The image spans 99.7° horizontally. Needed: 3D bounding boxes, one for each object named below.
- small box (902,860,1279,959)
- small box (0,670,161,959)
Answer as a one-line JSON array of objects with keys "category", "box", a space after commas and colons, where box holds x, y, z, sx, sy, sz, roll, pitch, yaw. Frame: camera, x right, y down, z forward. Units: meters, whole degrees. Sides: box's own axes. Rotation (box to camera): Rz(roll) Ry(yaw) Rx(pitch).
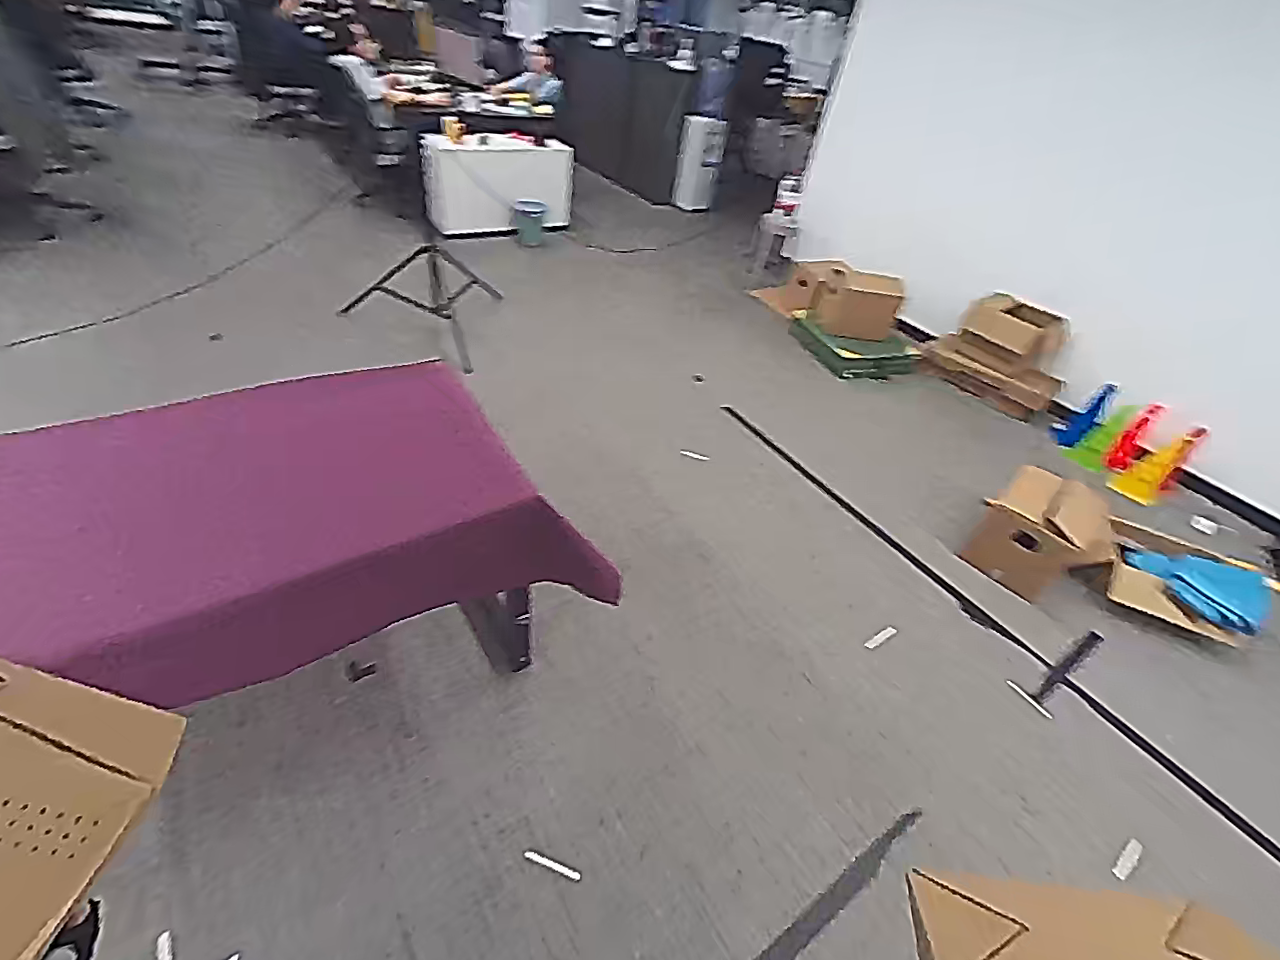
[{"category": "small box", "box": [0.233, 0.302, 0.259, 0.168, 0.179, 0.176, -9, 69, 18]}, {"category": "small box", "box": [-0.365, 0.177, 0.245, 0.179, 0.168, 0.176, 36, 60, -25]}]
